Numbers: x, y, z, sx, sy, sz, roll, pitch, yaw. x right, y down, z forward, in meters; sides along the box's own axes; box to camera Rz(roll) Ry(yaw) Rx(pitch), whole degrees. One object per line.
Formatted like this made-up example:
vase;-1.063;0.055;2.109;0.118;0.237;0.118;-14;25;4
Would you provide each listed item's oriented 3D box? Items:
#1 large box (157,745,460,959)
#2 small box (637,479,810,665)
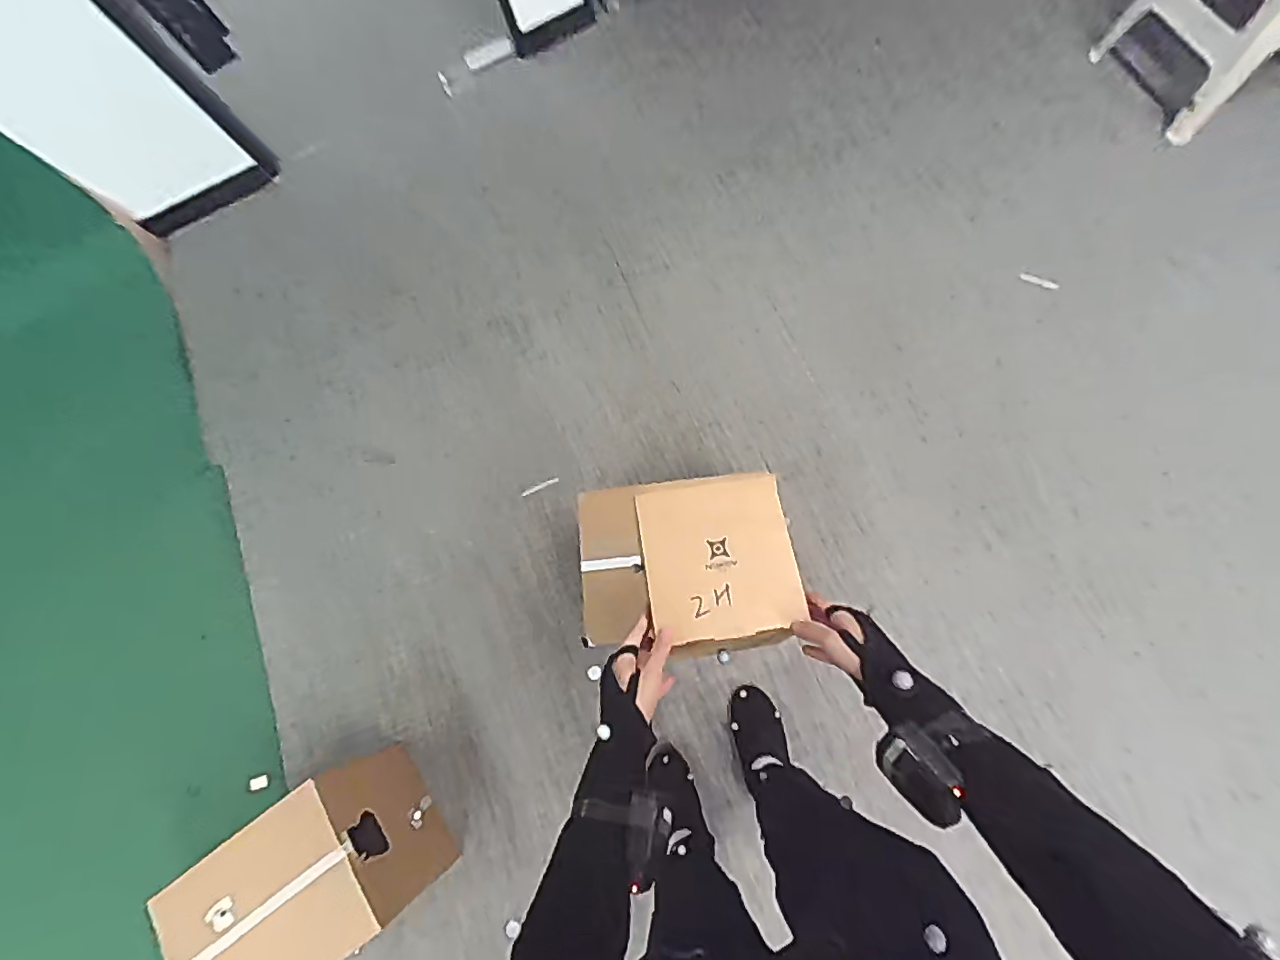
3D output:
large box;-0.684;0.861;1.168;0.408;0.320;0.320;-37;73;-1
small box;0.086;0.118;0.661;0.168;0.176;0.179;-8;67;-2
